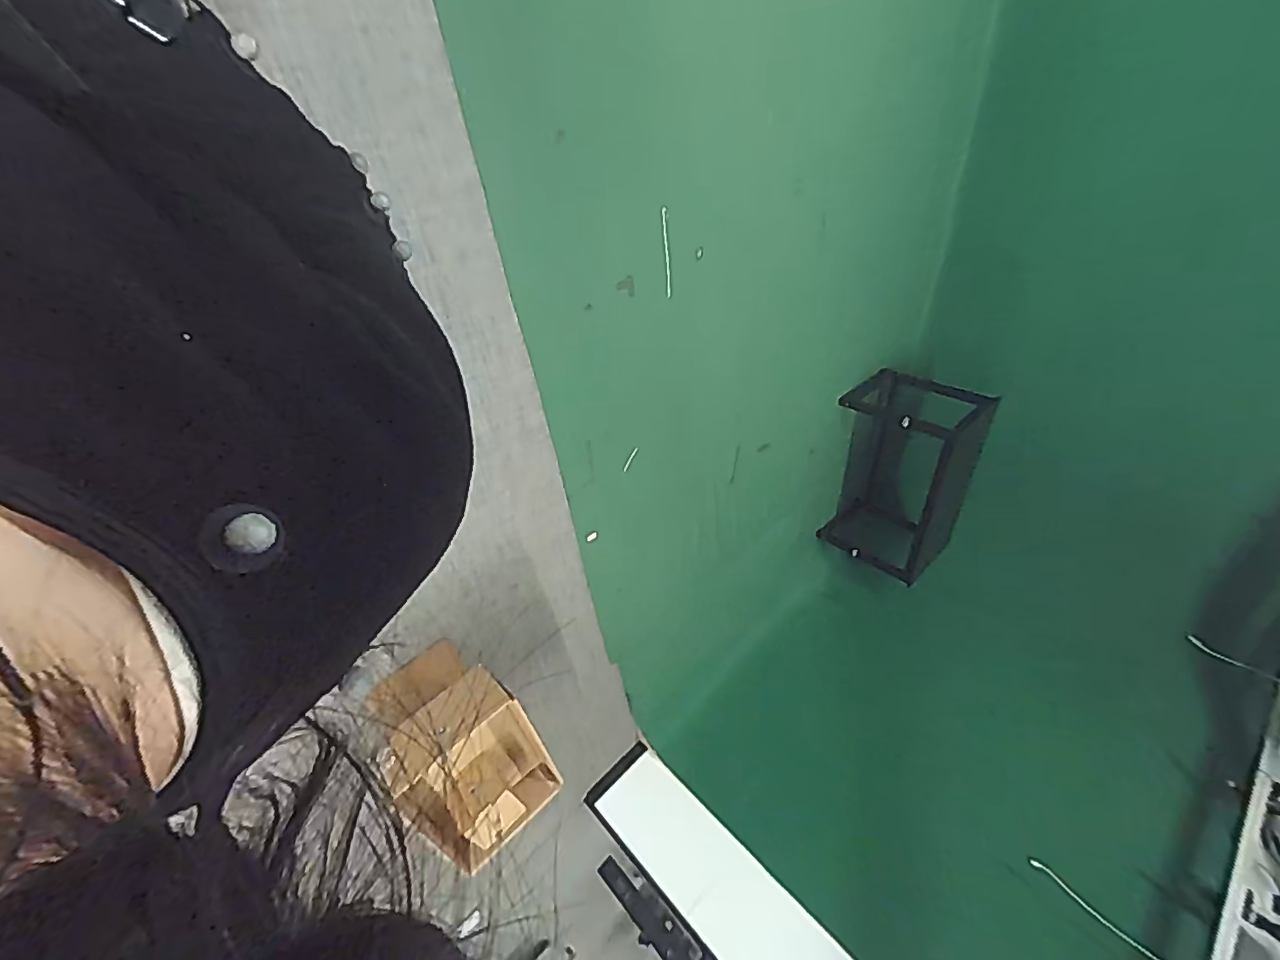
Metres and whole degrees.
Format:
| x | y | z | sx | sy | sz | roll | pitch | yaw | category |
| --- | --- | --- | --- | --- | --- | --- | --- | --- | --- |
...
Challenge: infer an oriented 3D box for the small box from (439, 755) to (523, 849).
| x | y | z | sx | sy | sz | roll | pitch | yaw | category |
| --- | --- | --- | --- | --- | --- | --- | --- | --- | --- |
| -0.510 | 1.019 | 1.725 | 0.168 | 0.176 | 0.179 | -38 | 134 | -24 | small box |
